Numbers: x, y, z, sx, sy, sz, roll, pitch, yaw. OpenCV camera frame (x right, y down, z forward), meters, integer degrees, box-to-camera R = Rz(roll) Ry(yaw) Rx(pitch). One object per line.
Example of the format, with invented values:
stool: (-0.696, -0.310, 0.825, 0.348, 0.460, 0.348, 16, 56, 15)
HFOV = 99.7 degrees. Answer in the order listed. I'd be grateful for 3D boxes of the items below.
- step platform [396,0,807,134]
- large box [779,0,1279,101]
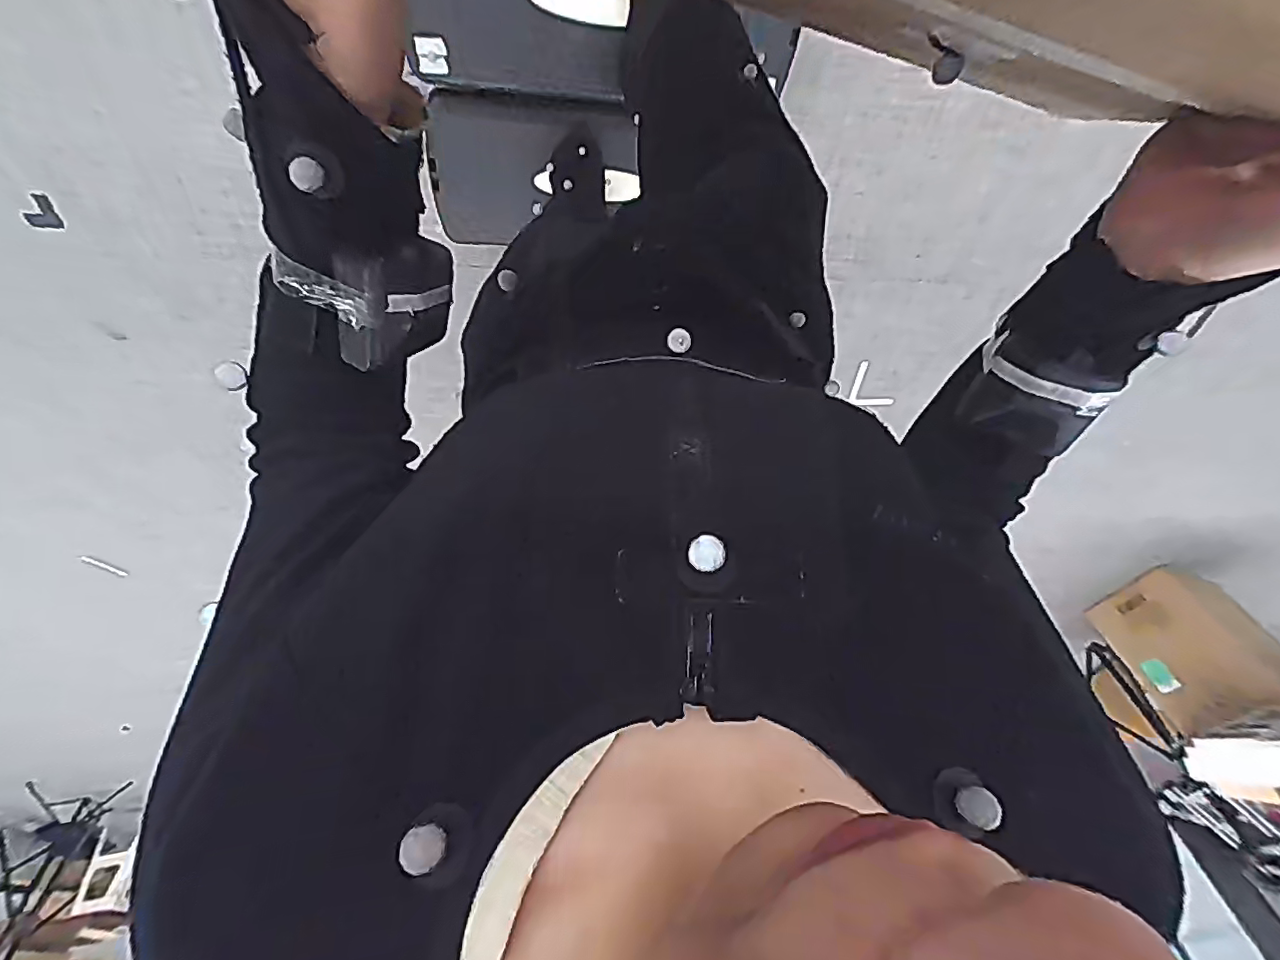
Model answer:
step platform: (-0.059, -0.824, 0.927, 0.684, 0.204, 0.286, 3, 132, -12)
large box: (0.108, -0.313, 0.104, 0.408, 0.320, 0.320, 9, 126, -8)
